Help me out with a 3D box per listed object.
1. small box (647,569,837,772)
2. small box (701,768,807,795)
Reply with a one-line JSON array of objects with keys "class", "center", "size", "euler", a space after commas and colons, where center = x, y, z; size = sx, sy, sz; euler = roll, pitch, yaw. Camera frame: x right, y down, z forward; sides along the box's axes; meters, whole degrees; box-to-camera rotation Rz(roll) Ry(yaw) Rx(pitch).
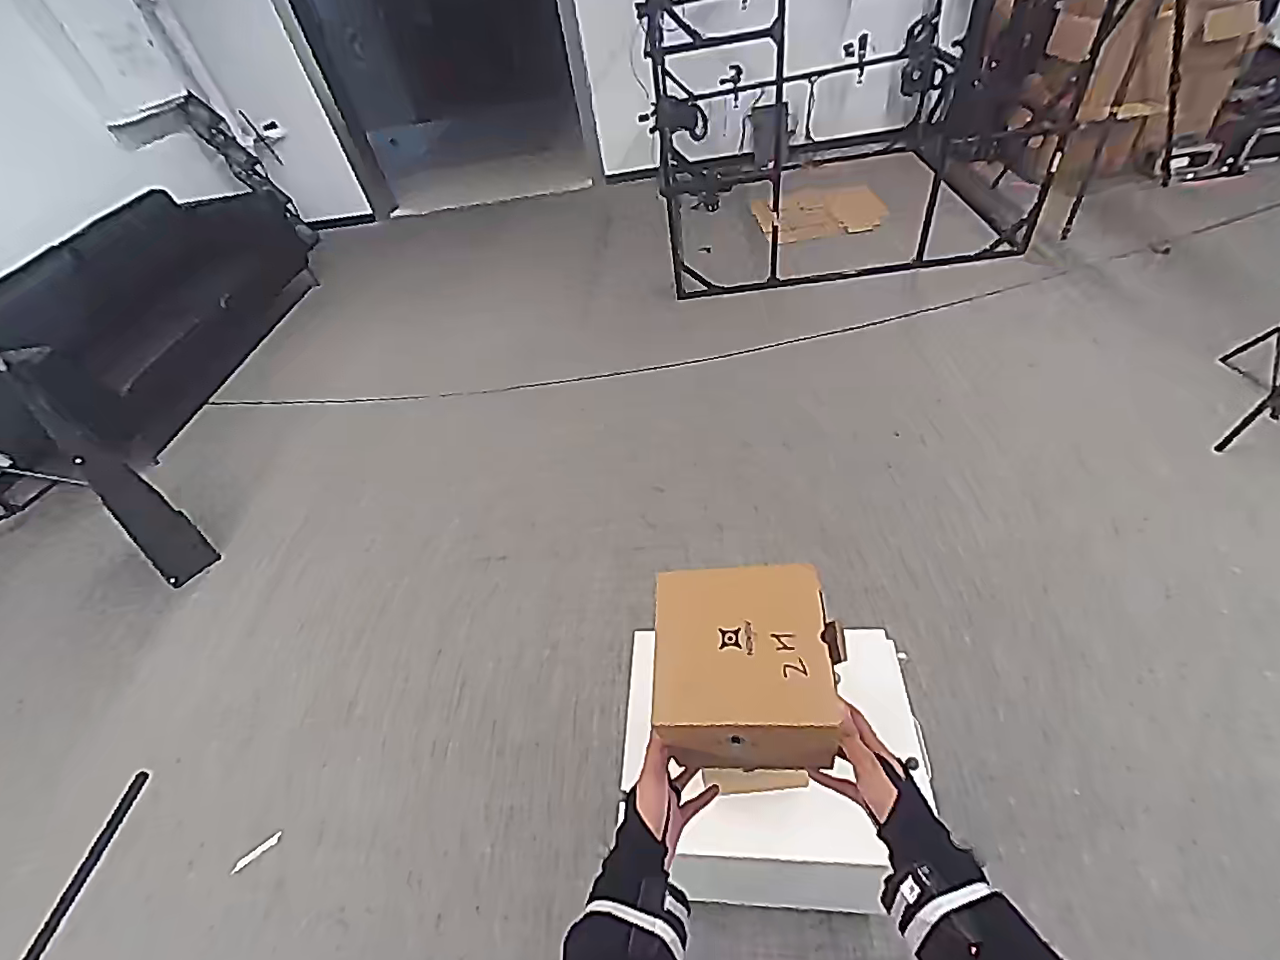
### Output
[{"class": "small box", "center": [0.114, 0.216, 0.603], "size": [0.179, 0.176, 0.168], "euler": [-5, 50, 11]}, {"class": "small box", "center": [0.182, 0.417, 0.919], "size": [0.179, 0.176, 0.168], "euler": [-8, 45, 3]}]
